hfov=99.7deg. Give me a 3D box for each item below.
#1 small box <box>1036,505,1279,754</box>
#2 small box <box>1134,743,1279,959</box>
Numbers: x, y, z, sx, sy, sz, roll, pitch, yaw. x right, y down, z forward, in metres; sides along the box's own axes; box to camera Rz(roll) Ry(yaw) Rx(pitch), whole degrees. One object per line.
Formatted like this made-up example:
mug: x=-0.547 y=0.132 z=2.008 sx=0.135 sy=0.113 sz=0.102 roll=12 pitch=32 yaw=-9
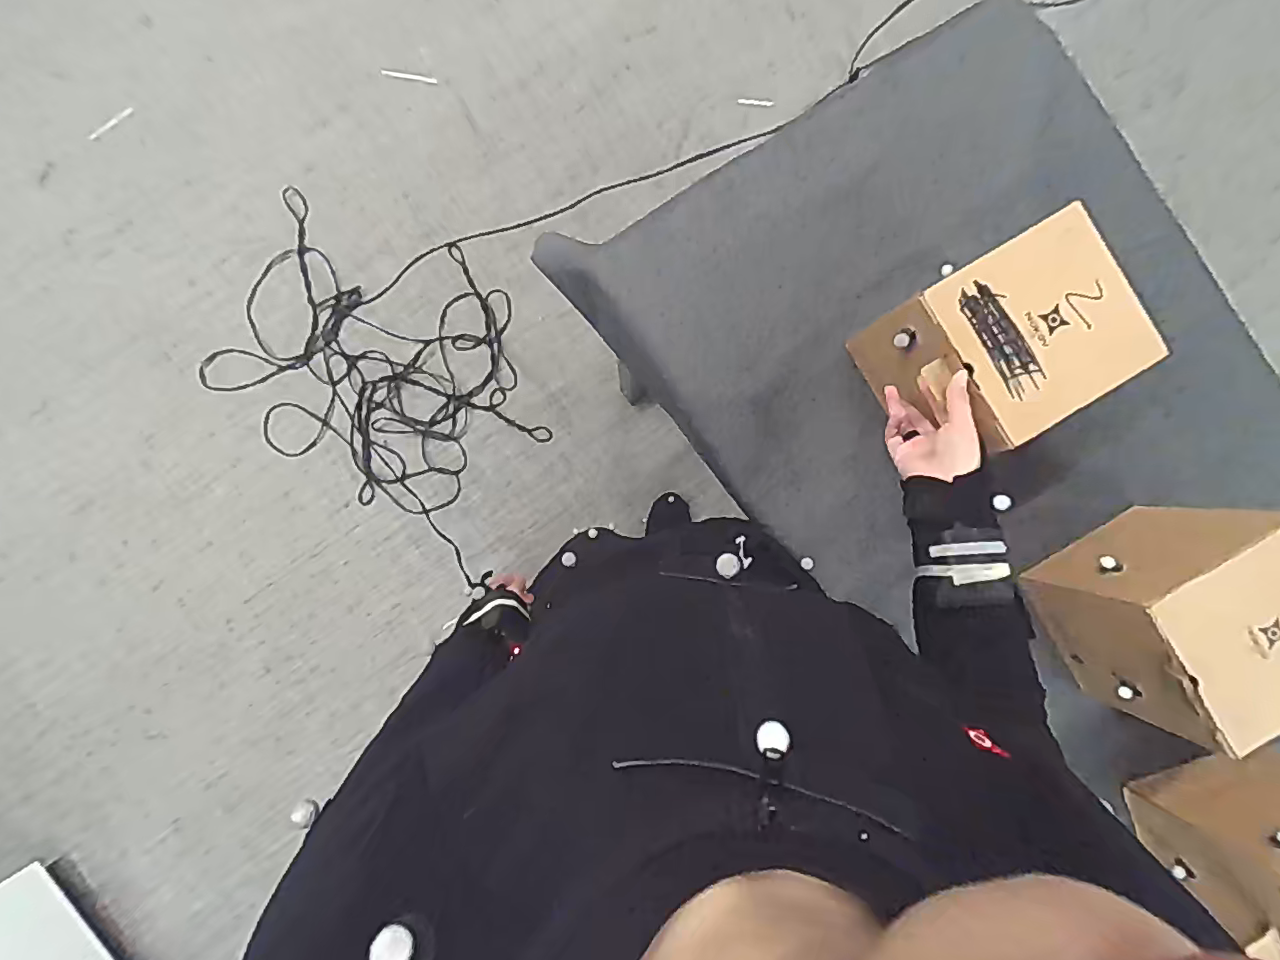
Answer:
small box: x=0.571 y=0.139 z=0.572 sx=0.179 sy=0.176 sz=0.168 roll=-32 pitch=91 yaw=-3
small box: x=0.694 y=0.410 z=0.569 sx=0.179 sy=0.176 sz=0.168 roll=-19 pitch=90 yaw=-1
